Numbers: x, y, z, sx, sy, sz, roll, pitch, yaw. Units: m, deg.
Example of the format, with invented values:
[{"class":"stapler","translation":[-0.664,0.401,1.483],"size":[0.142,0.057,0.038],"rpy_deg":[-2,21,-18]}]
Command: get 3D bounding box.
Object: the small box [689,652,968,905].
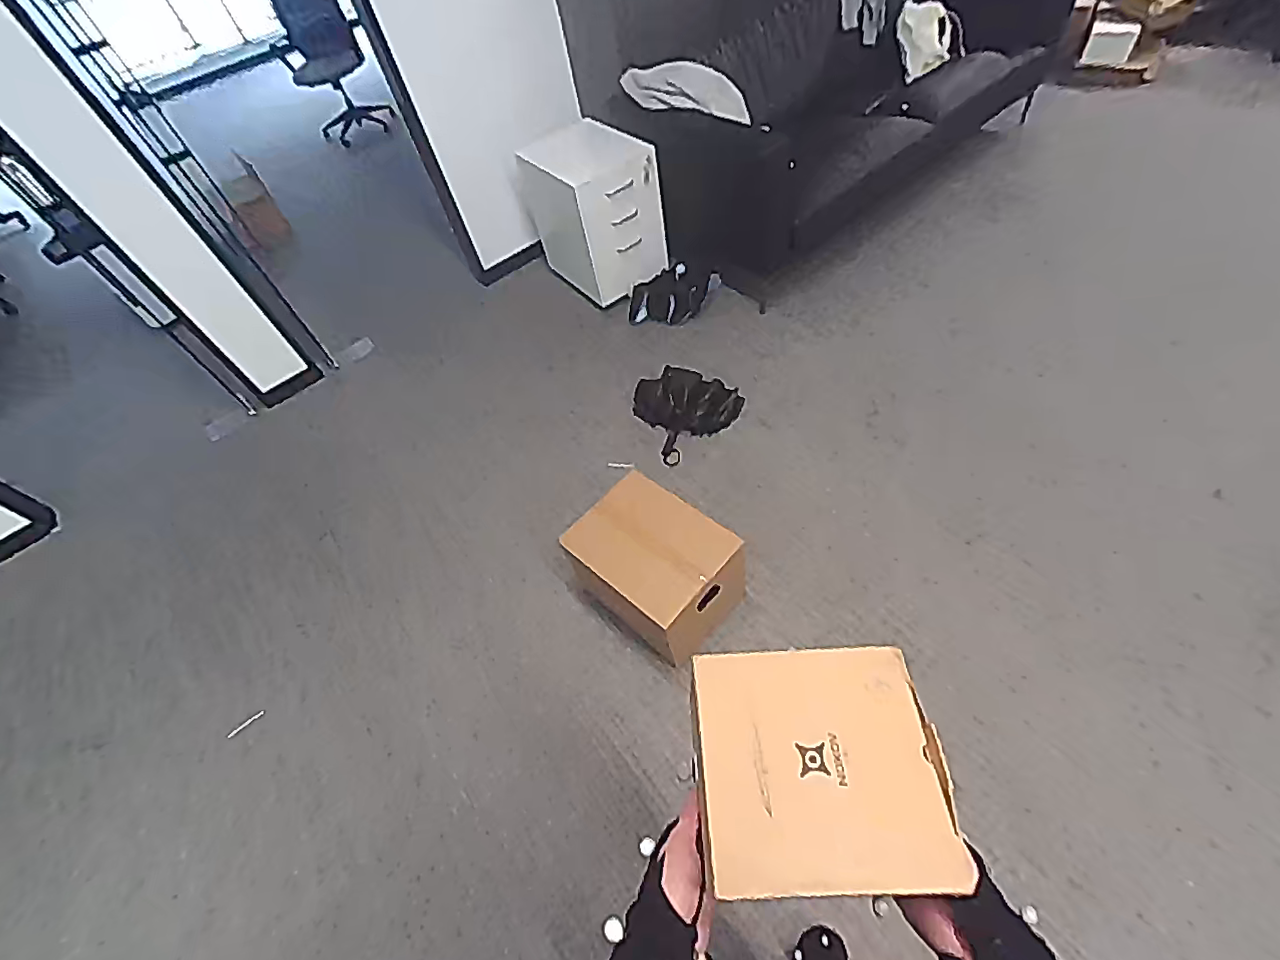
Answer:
[{"class":"small box","translation":[0.137,0.261,0.473],"size":[0.179,0.176,0.168],"rpy_deg":[-4,53,2]}]
